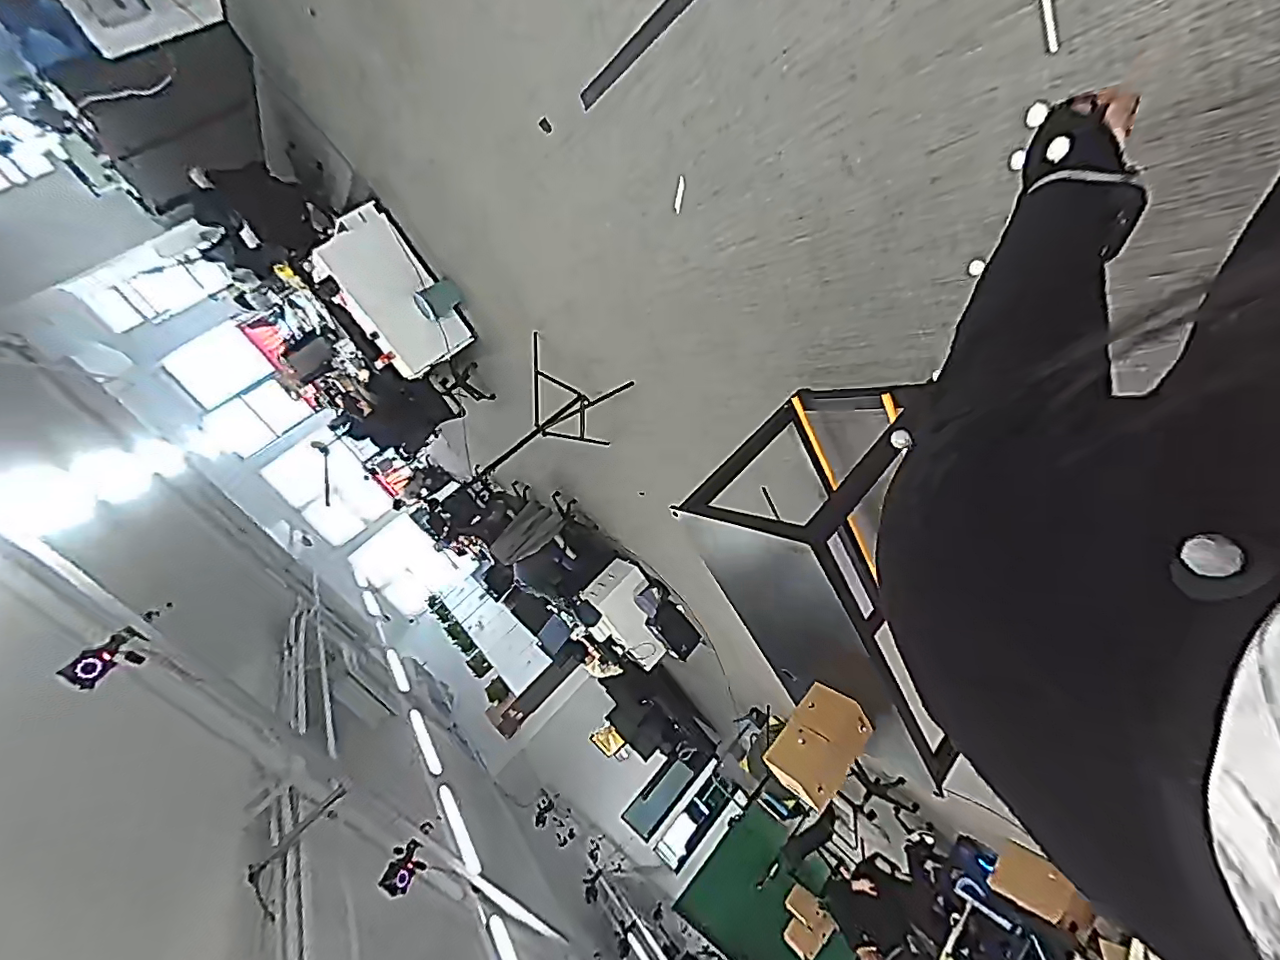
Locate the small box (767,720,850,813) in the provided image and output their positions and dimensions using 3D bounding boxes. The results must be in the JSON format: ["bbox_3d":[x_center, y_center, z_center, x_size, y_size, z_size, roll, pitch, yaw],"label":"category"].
[{"bbox_3d":[0.562,0.942,1.791,0.179,0.176,0.168,55,158,-21],"label":"small box"}]

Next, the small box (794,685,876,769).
[{"bbox_3d":[0.670,0.834,1.852,0.168,0.176,0.179,55,157,-23],"label":"small box"}]
